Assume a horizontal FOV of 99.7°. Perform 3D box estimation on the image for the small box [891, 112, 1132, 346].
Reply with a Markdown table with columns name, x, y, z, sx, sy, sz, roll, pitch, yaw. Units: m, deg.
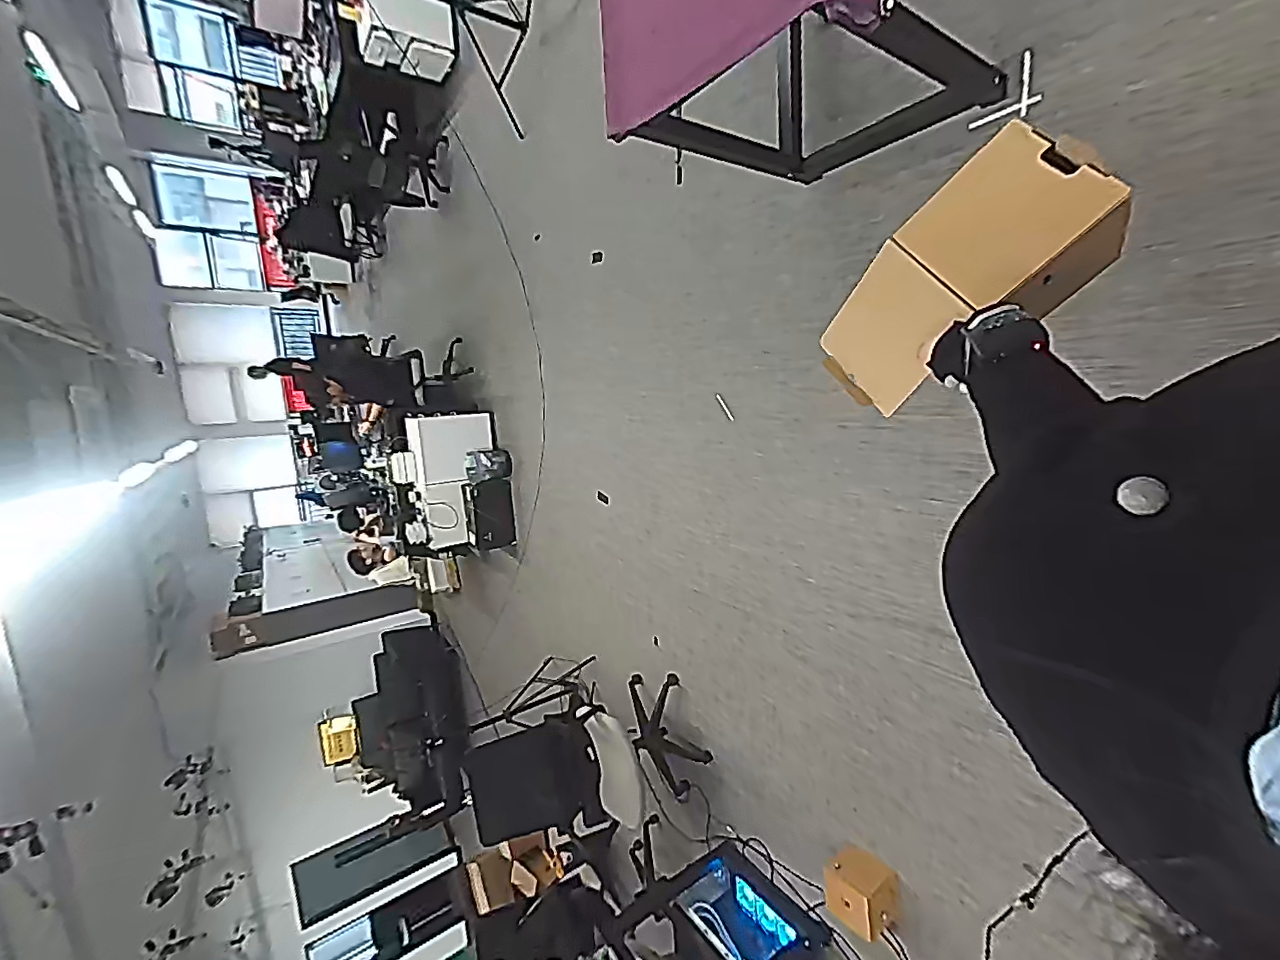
| name | x | y | z | sx | sy | sz | roll | pitch | yaw |
| --- | --- | --- | --- | --- | --- | --- | --- | --- | --- |
| small box | 0.461 | -0.299 | 0.682 | 0.179 | 0.176 | 0.168 | -44 | 61 | 26 |
